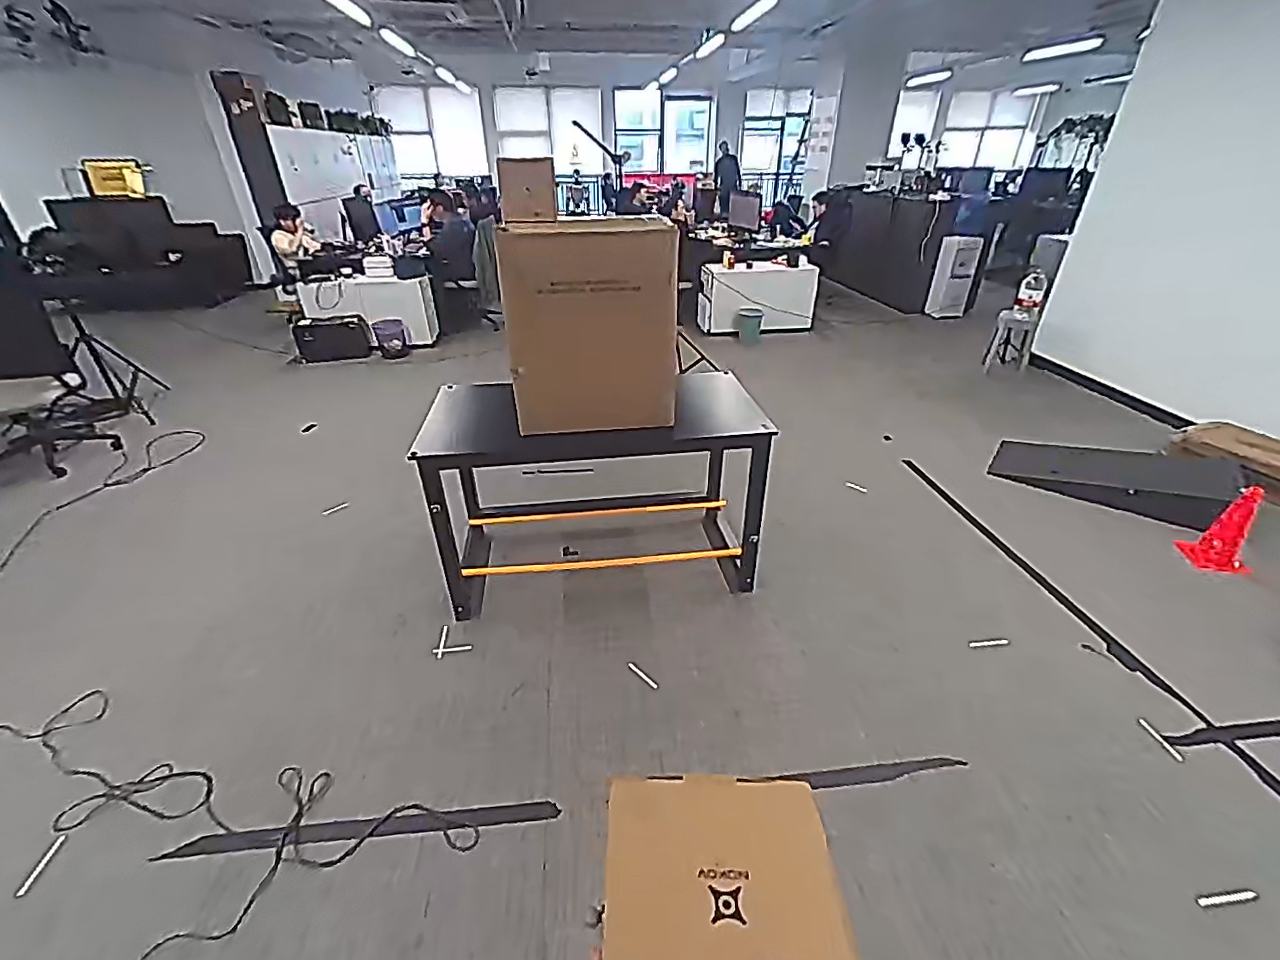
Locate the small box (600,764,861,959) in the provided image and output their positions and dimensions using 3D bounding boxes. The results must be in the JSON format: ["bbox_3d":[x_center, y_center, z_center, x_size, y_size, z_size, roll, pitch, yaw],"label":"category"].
[{"bbox_3d":[0.053,0.352,0.411,0.168,0.176,0.179,3,27,-1],"label":"small box"}]

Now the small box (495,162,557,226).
[{"bbox_3d":[-0.345,-0.884,1.672,0.168,0.176,0.179,-3,30,-7],"label":"small box"}]
